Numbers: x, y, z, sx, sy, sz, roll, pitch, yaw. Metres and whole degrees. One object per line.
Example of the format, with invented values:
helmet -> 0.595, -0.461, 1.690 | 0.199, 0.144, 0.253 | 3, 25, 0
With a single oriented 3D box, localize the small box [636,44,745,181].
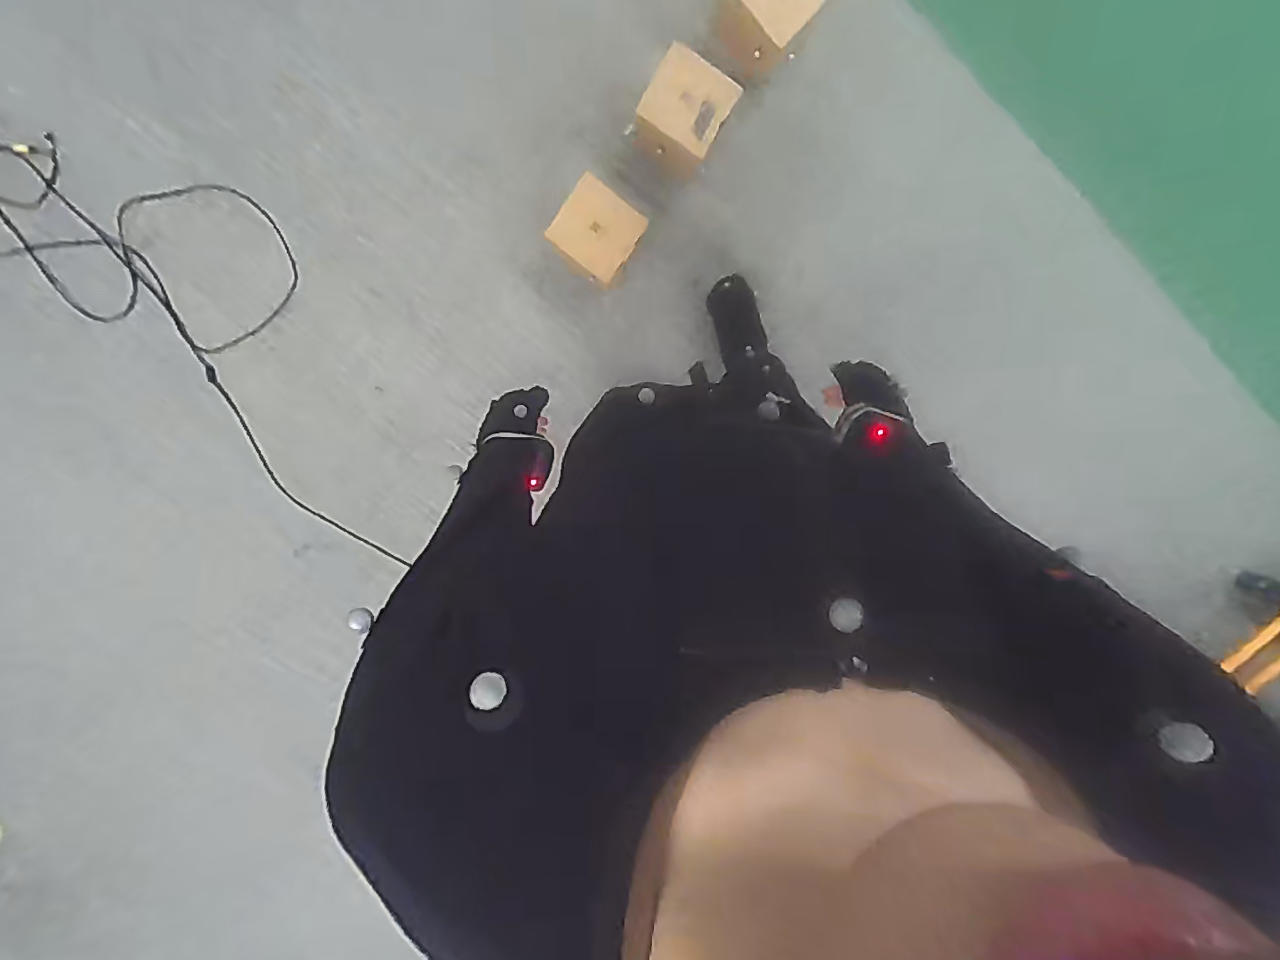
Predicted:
small box -> 0.106, -0.811, 1.220 | 0.179, 0.176, 0.168 | 32, 98, -7

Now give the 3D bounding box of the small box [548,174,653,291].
small box -> -0.090, -0.564, 1.265 | 0.179, 0.176, 0.168 | 36, 99, -9
